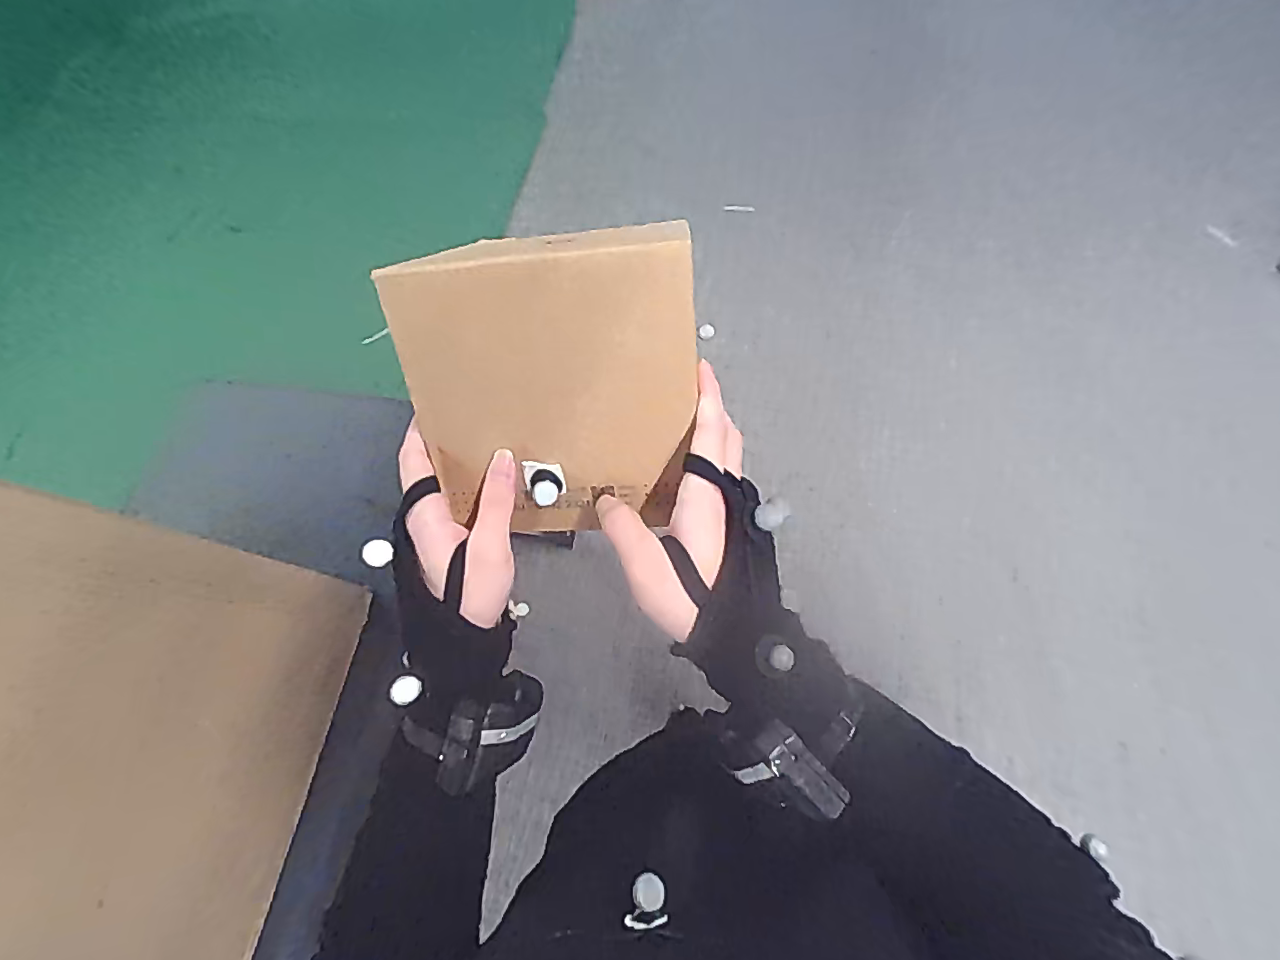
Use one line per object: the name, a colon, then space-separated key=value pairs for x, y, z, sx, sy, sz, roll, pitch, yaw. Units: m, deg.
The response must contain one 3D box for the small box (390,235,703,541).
small box: x=-0.043 y=-0.073 z=0.391 sx=0.168 sy=0.176 sz=0.179 roll=-4 pitch=28 yaw=6
